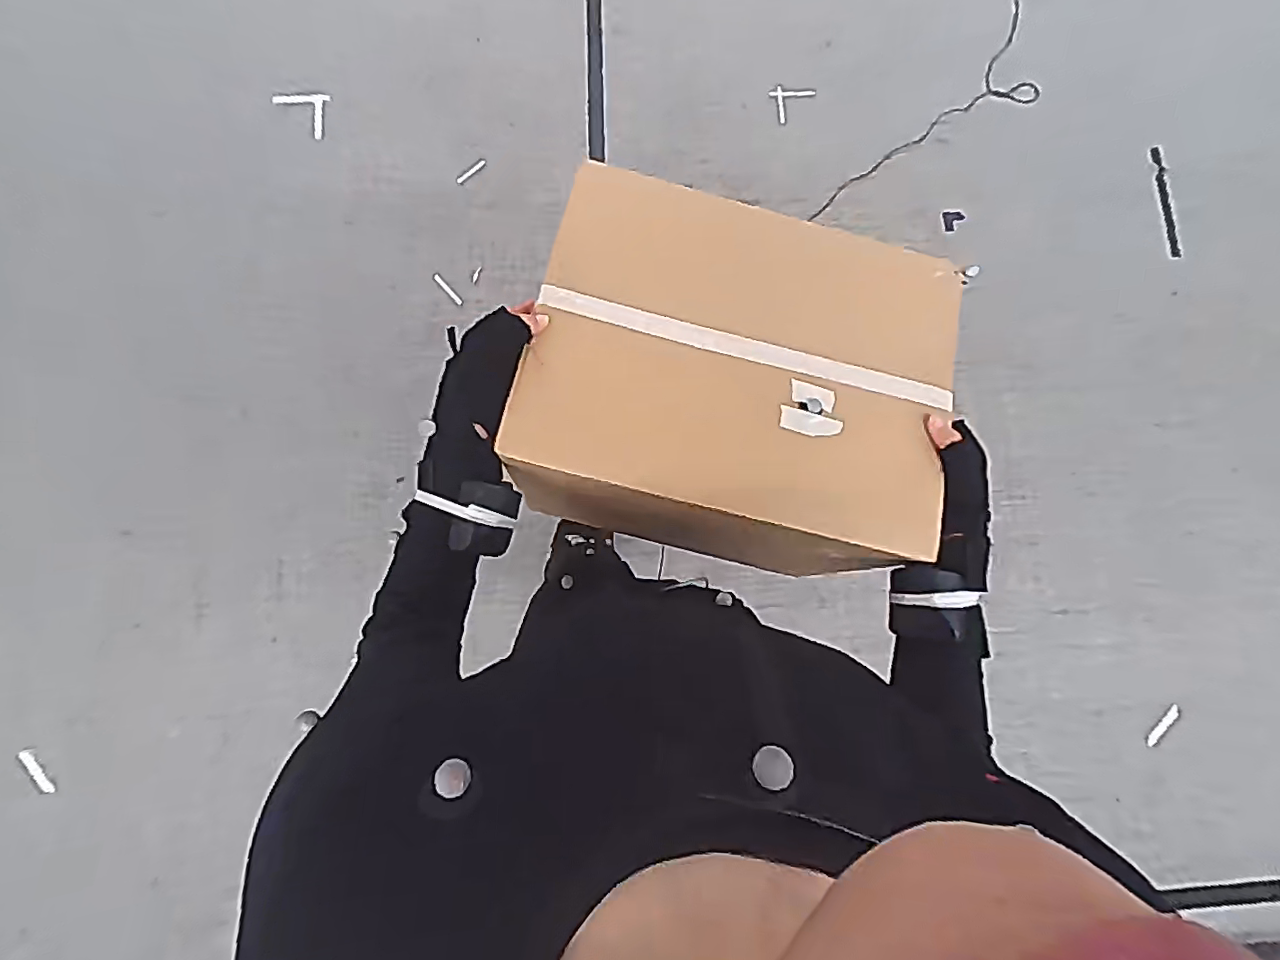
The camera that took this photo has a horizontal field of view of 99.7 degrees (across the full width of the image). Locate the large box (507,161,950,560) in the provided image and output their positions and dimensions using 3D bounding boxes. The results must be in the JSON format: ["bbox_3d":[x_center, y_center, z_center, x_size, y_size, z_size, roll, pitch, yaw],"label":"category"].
[{"bbox_3d":[0.085,-0.103,0.668,0.408,0.320,0.320,15,78,-4],"label":"large box"}]
